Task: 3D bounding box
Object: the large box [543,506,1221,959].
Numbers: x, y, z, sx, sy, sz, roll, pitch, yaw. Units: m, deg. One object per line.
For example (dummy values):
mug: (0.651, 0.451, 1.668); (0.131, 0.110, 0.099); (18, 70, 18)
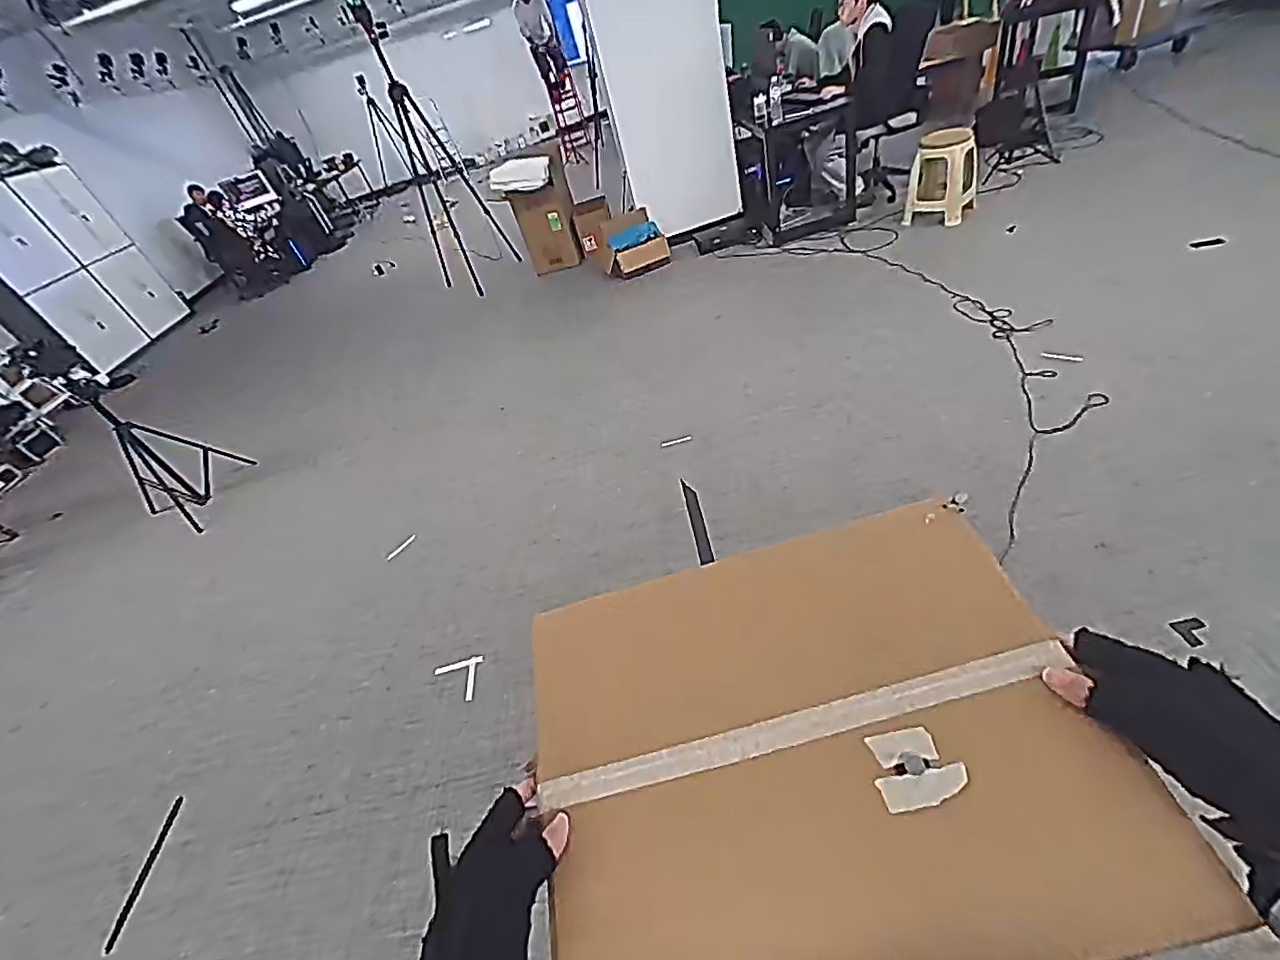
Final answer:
large box: (0.156, 0.287, 0.530); (0.408, 0.320, 0.320); (-17, 49, 3)
